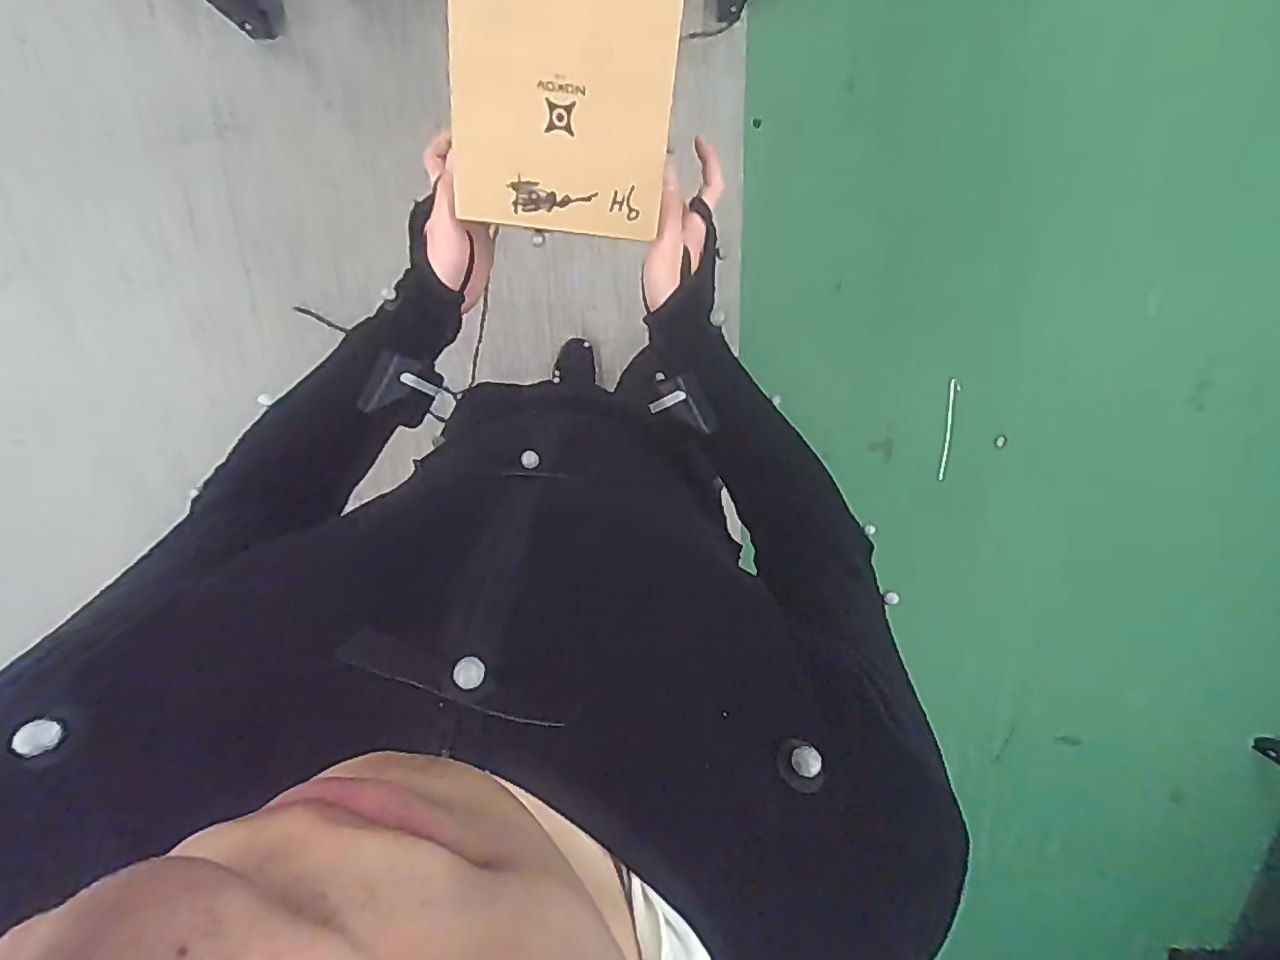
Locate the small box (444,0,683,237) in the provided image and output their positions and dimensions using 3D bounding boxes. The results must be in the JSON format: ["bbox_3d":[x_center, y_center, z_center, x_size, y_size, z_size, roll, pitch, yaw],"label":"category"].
[{"bbox_3d":[-0.062,-0.315,0.467,0.168,0.176,0.179,6,114,-3],"label":"small box"}]
